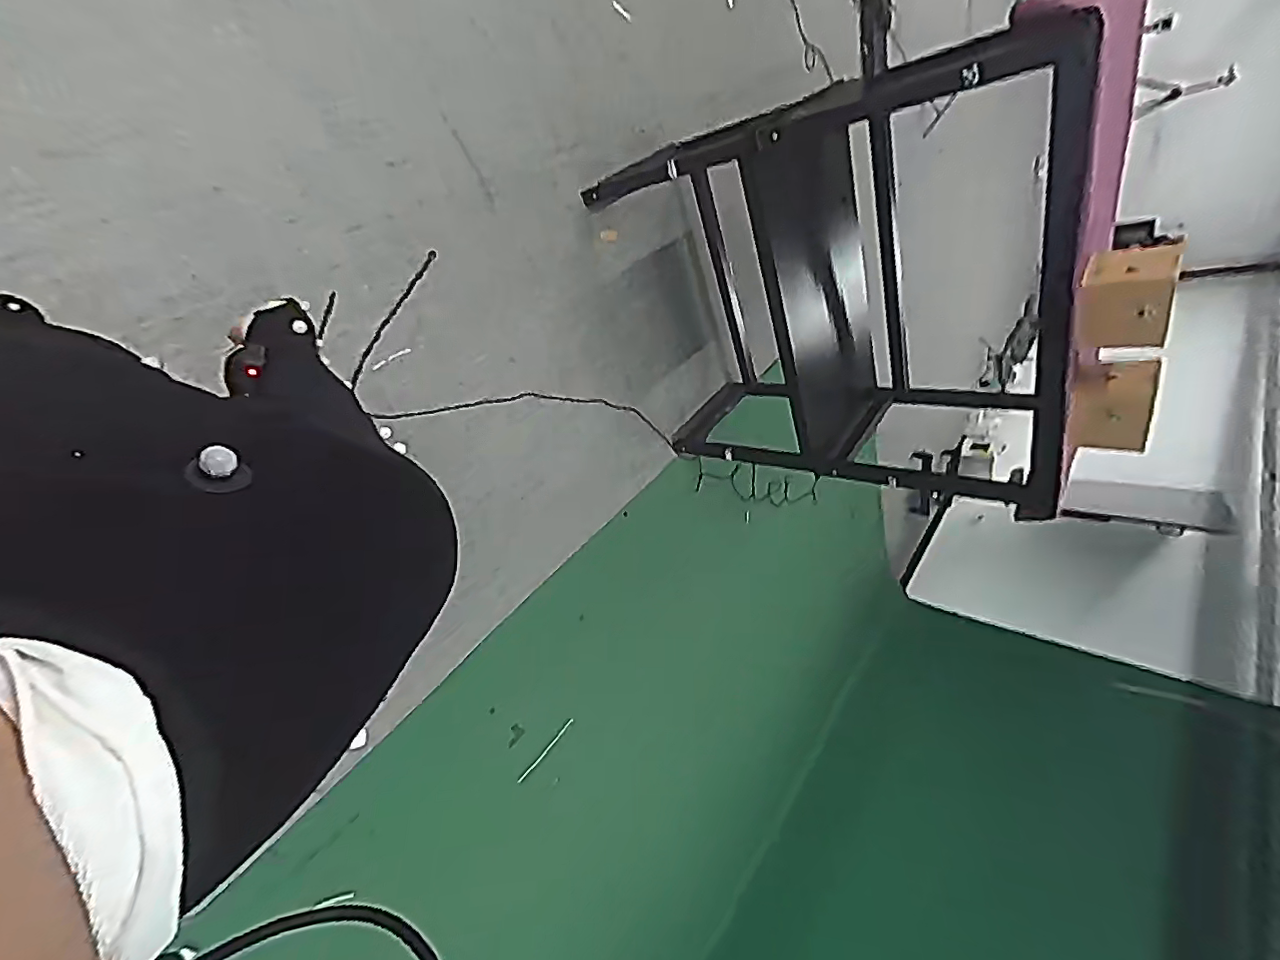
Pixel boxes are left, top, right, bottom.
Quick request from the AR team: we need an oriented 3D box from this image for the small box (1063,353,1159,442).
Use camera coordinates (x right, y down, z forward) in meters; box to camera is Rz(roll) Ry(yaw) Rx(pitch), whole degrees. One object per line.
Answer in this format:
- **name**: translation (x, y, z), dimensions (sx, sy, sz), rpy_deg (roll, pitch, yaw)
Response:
- **small box**: translation (1.237, -0.218, 1.427), dimensions (0.168, 0.176, 0.179), rpy_deg (-45, 126, -30)

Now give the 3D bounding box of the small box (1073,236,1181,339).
- **small box**: translation (1.146, -0.449, 1.281), dimensions (0.168, 0.176, 0.179), rpy_deg (-47, 129, -30)
